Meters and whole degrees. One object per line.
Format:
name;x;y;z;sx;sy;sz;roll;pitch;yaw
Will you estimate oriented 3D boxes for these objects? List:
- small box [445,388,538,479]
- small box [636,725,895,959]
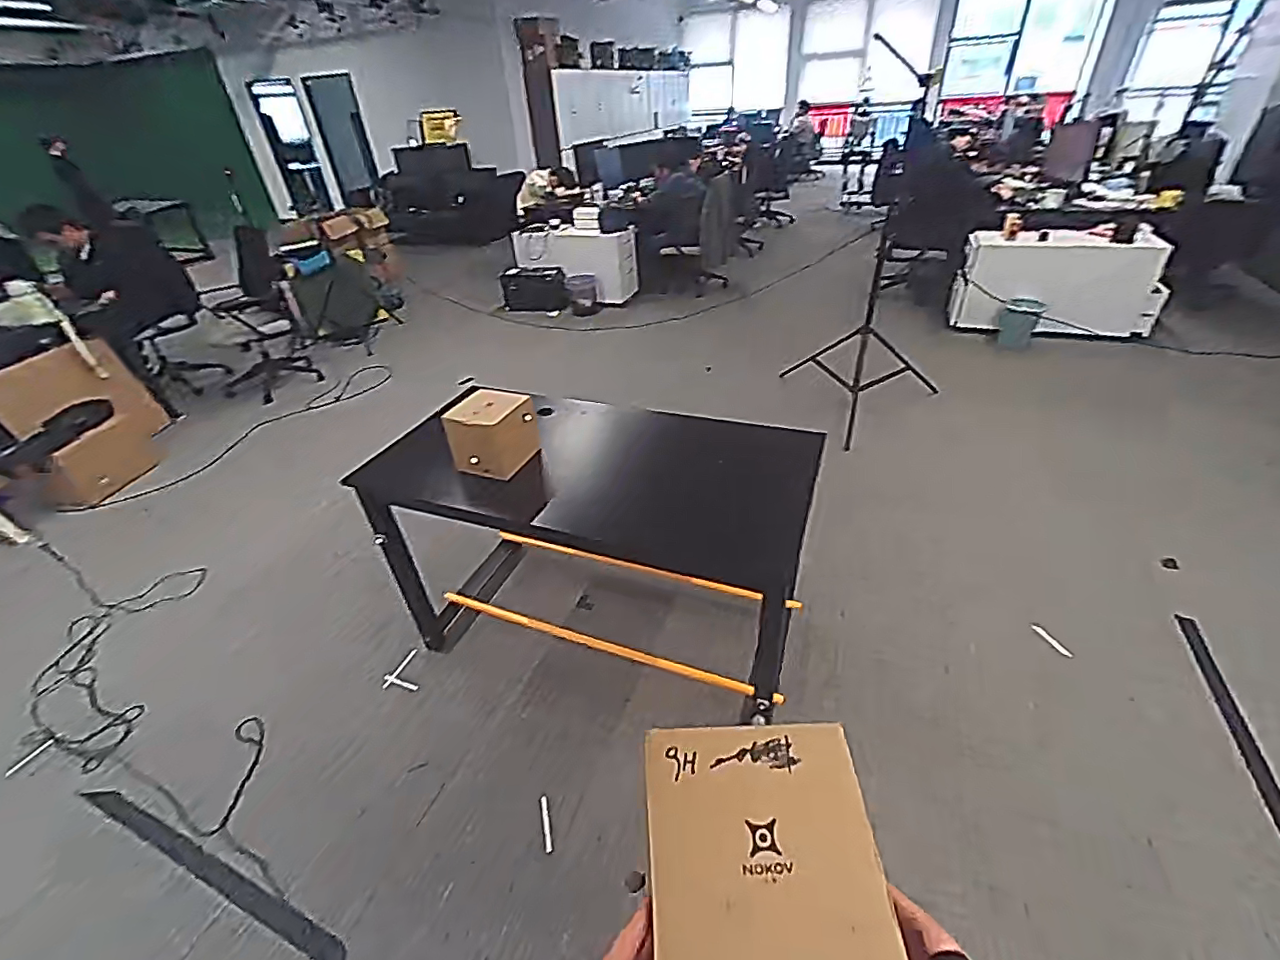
small box;-0.393;-0.128;1.466;0.168;0.176;0.179;11;38;21
small box;0.082;0.322;0.448;0.168;0.176;0.179;-1;49;-2
